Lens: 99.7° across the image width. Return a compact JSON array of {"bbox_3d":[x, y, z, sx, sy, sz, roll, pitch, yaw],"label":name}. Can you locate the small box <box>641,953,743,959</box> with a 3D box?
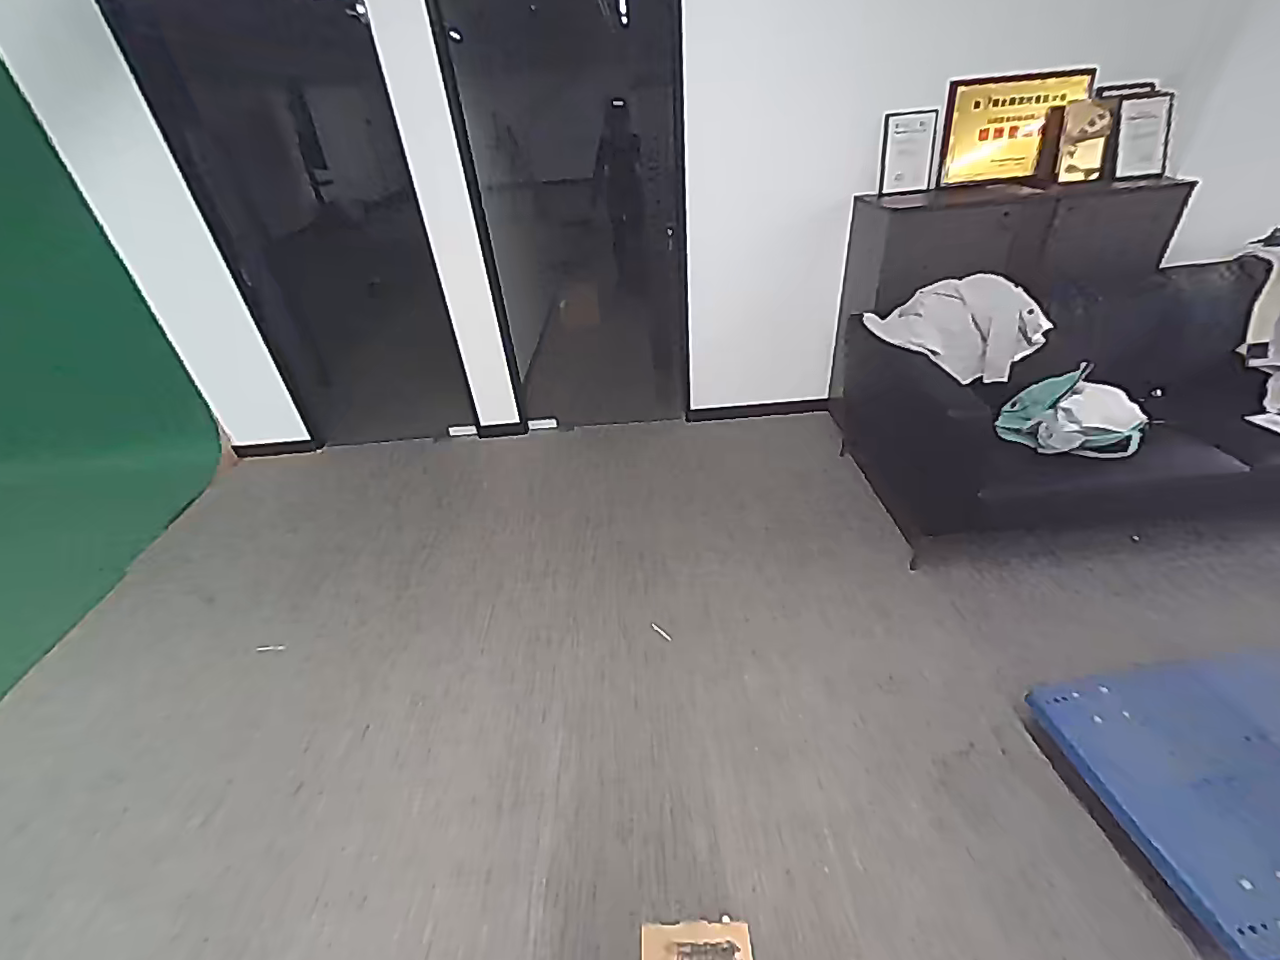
[{"bbox_3d":[0.094,0.923,0.904,0.179,0.176,0.168,-3,36,2],"label":"small box"}]
